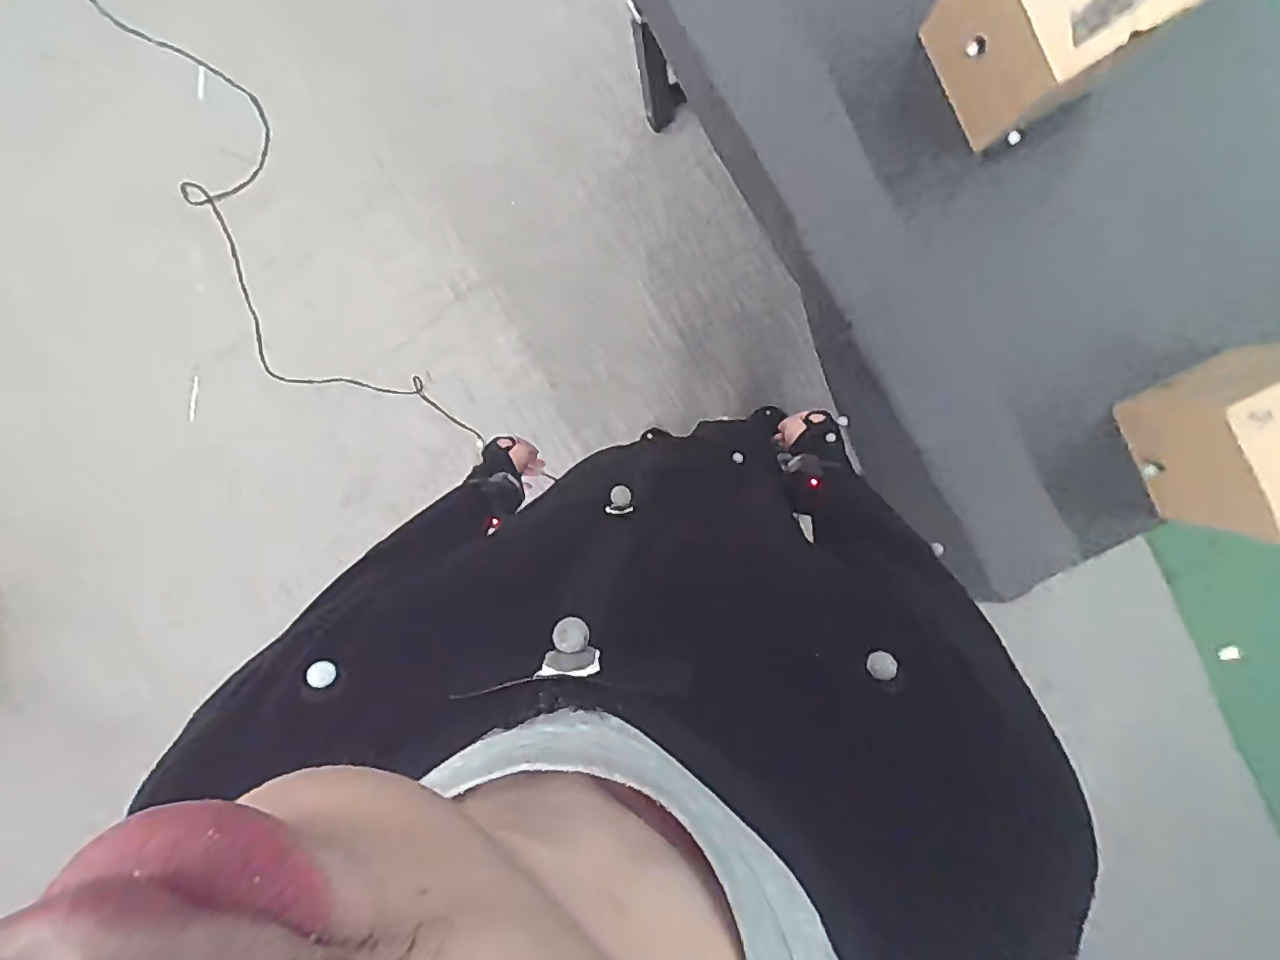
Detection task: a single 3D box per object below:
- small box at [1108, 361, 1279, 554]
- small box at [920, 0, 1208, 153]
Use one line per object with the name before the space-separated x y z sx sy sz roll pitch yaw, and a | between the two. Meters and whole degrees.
small box | 0.748 -0.038 0.668 0.168 0.176 0.179 -28 95 7
small box | 0.467 -0.519 0.626 0.168 0.176 0.179 -28 94 7
